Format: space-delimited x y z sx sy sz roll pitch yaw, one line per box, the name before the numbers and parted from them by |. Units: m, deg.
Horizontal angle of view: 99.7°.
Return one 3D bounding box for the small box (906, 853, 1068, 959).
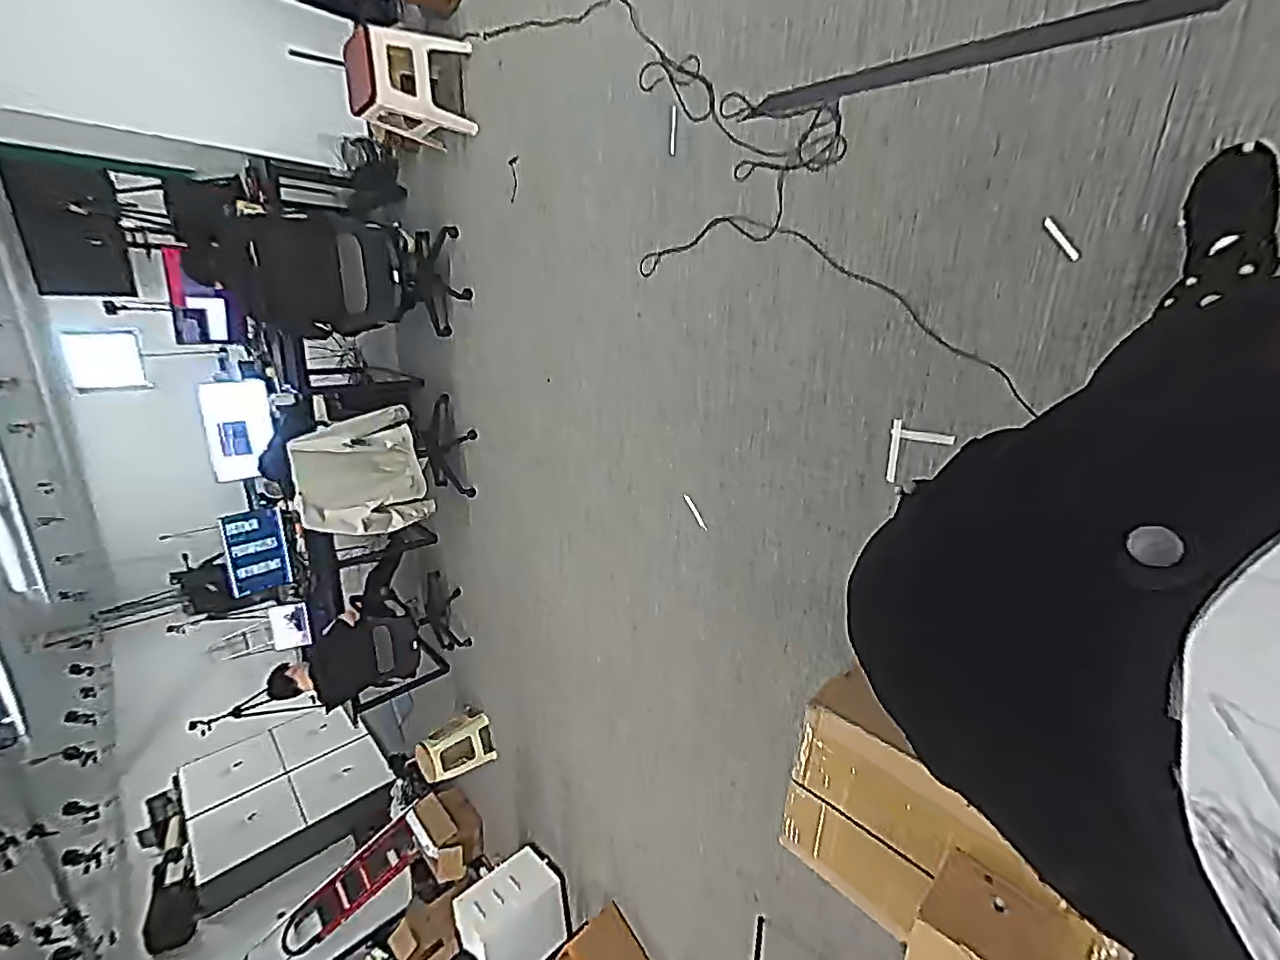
small box | 0.529 0.742 0.834 0.168 0.176 0.179 19 113 44
